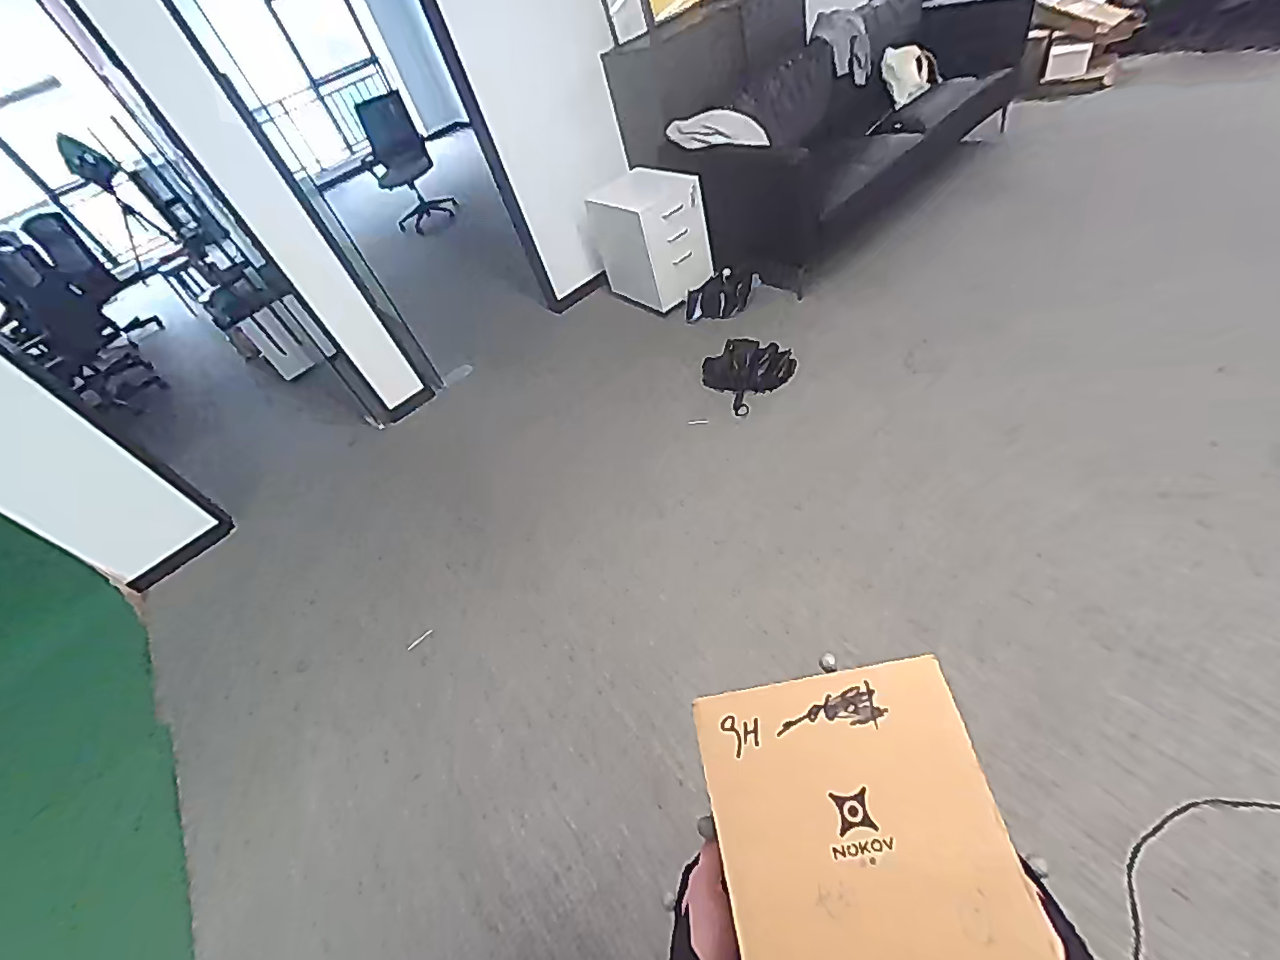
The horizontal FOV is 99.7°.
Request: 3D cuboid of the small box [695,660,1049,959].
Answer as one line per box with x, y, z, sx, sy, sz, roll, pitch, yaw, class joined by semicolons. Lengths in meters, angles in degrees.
0.139;0.242;0.395;0.168;0.176;0.179;-11;64;2;small box
